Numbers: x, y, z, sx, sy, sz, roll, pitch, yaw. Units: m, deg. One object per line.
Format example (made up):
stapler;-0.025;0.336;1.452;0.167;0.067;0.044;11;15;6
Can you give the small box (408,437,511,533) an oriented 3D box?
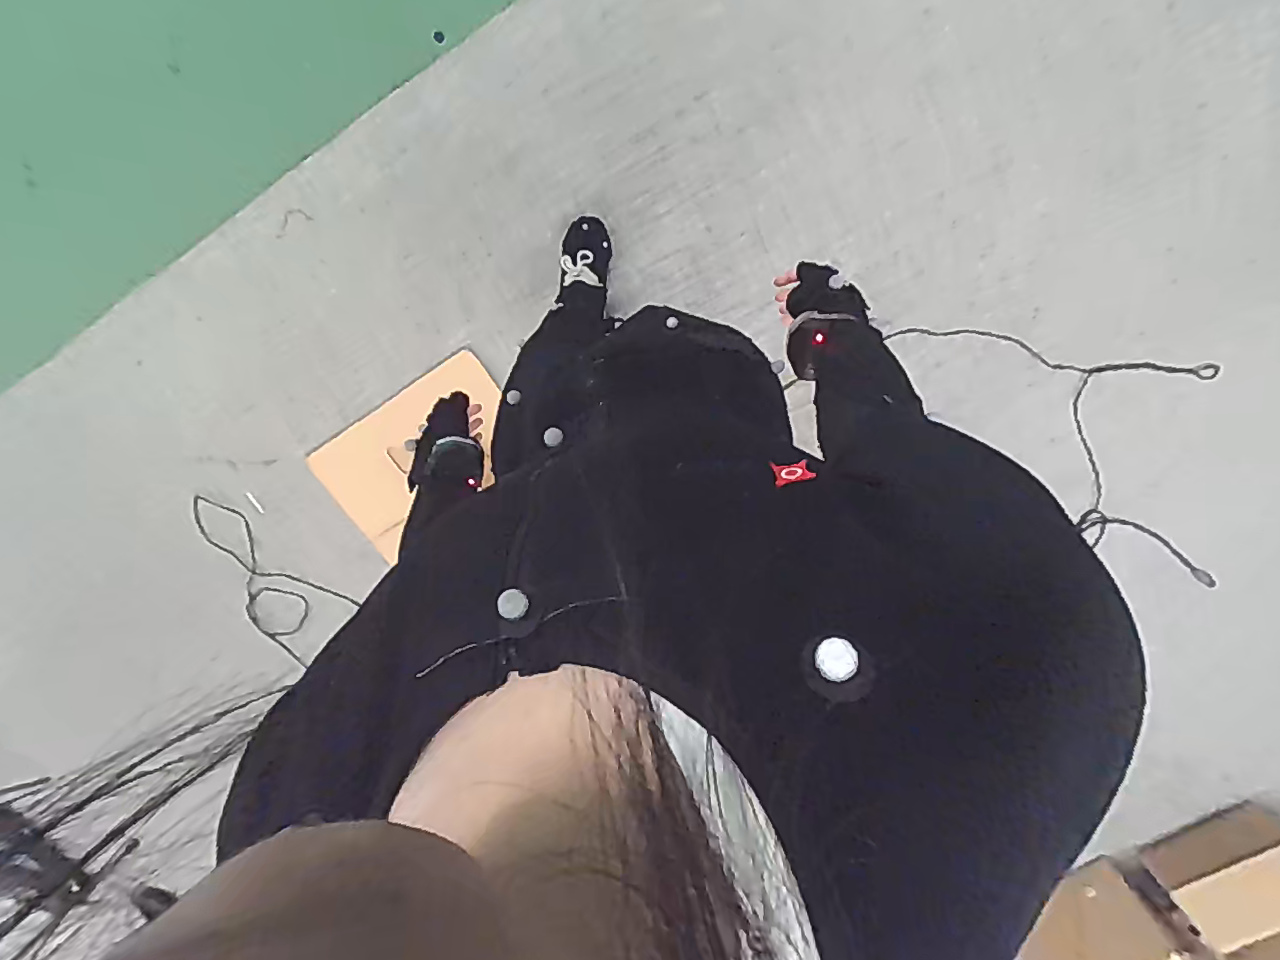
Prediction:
small box;-0.477;0.009;1.456;0.179;0.176;0.168;-32;105;12
